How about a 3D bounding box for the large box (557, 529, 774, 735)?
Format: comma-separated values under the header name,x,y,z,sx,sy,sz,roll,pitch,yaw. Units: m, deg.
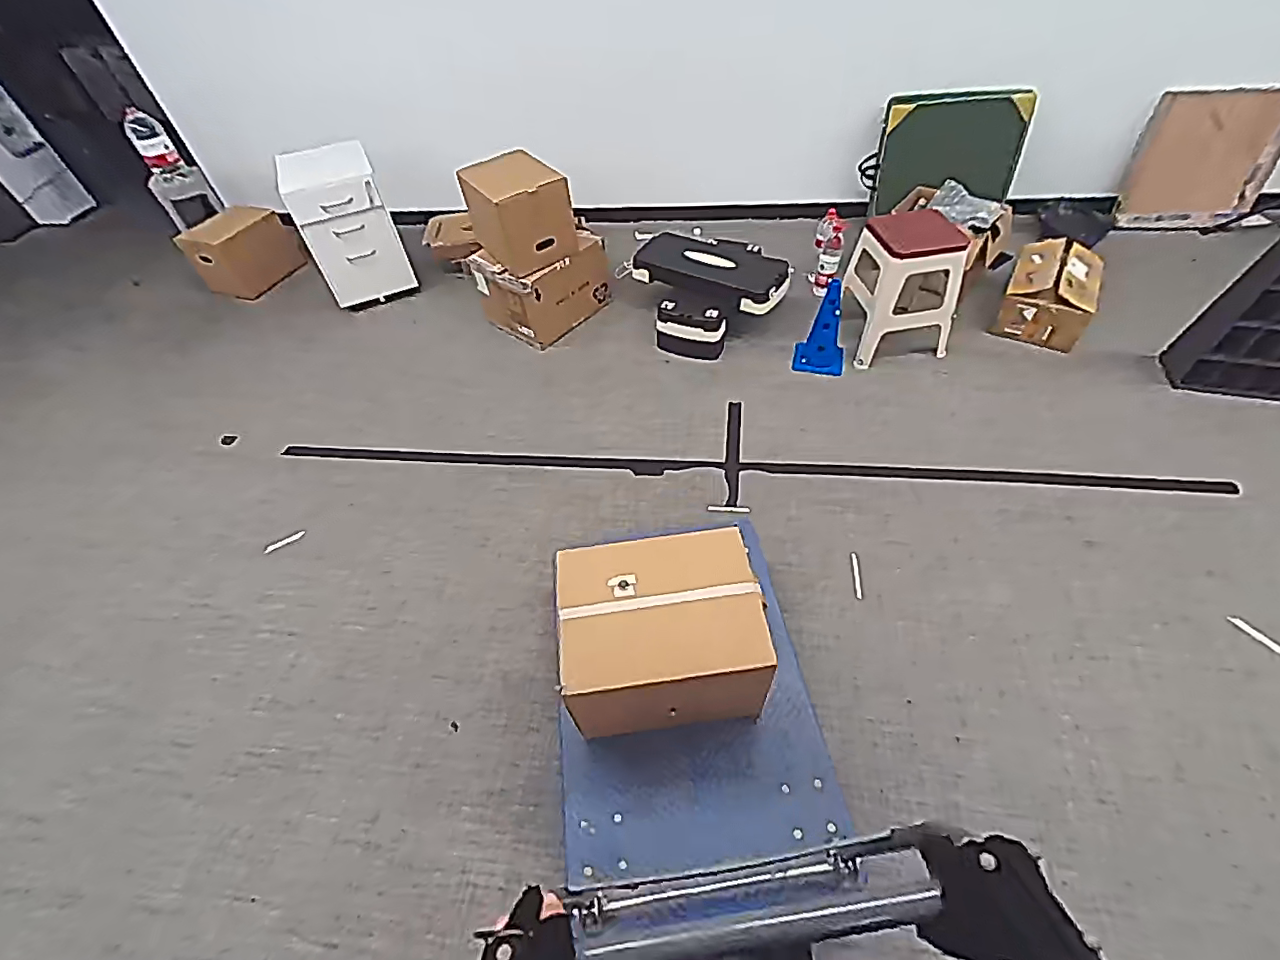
name,x,y,z,sx,sy,sz,roll,pitch,yaw
large box,0.047,0.344,1.203,0.408,0.320,0.320,-8,51,-1
